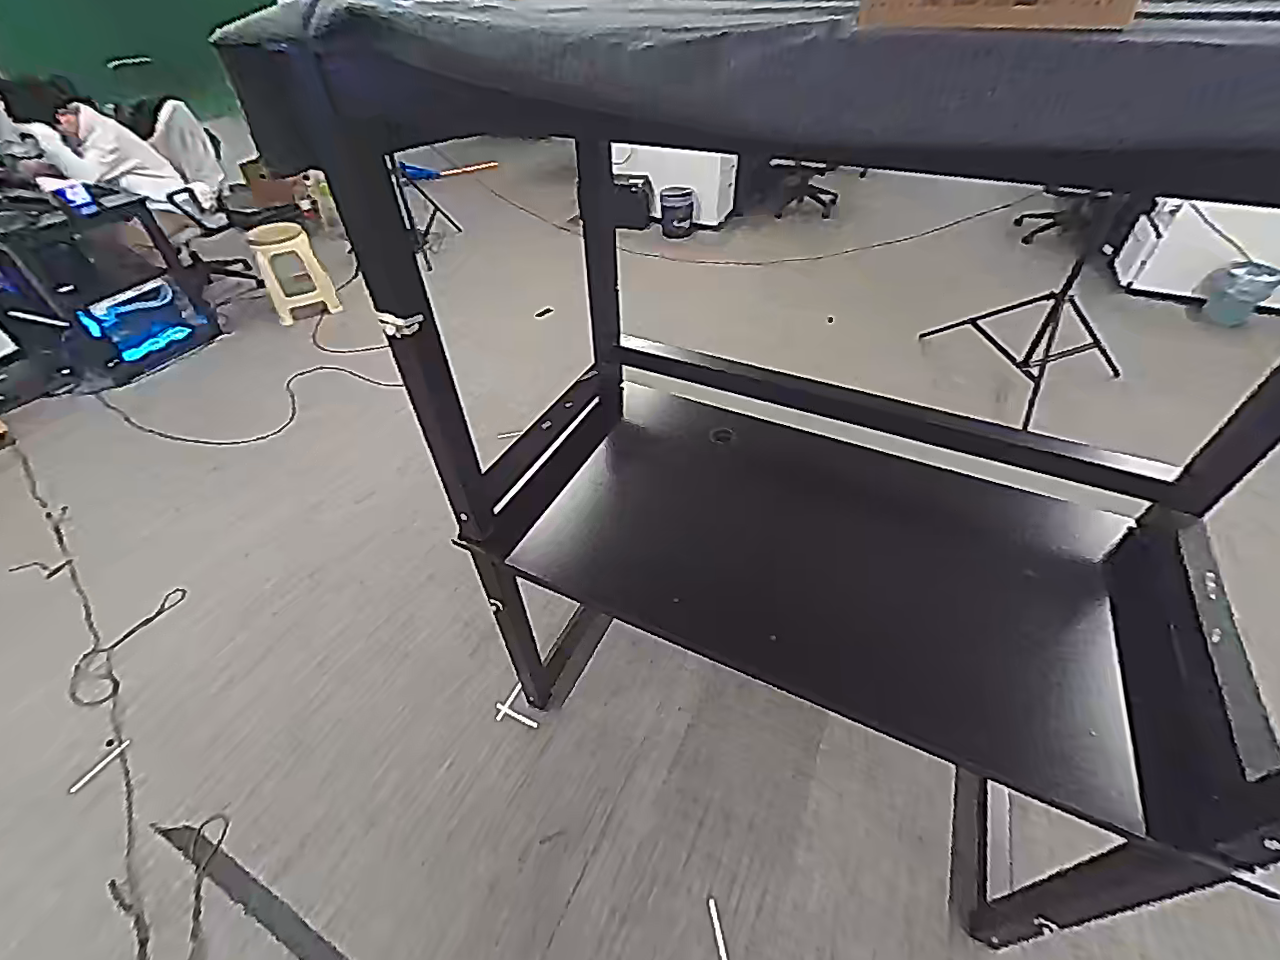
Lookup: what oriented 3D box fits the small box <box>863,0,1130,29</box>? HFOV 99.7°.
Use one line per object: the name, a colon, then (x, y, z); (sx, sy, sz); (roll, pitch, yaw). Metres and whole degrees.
small box: (0.263, -0.417, 0.365); (0.168, 0.176, 0.179); (18, 45, 19)
